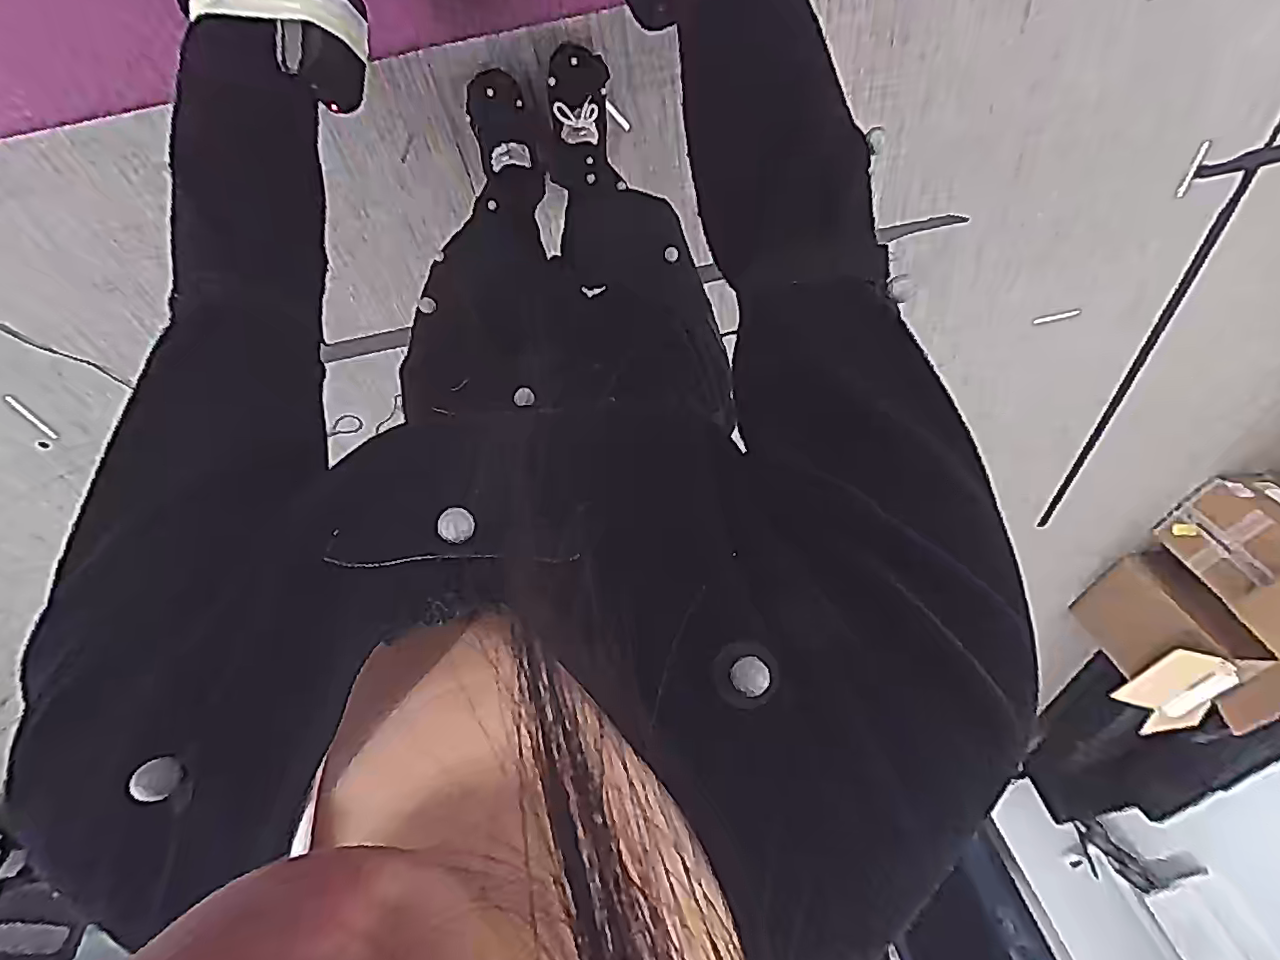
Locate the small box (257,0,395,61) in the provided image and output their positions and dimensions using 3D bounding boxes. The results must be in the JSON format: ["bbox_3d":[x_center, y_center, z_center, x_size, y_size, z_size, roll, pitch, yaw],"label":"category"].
[{"bbox_3d":[-0.522,-0.814,0.878,0.168,0.176,0.179,-13,134,-2],"label":"small box"}]
